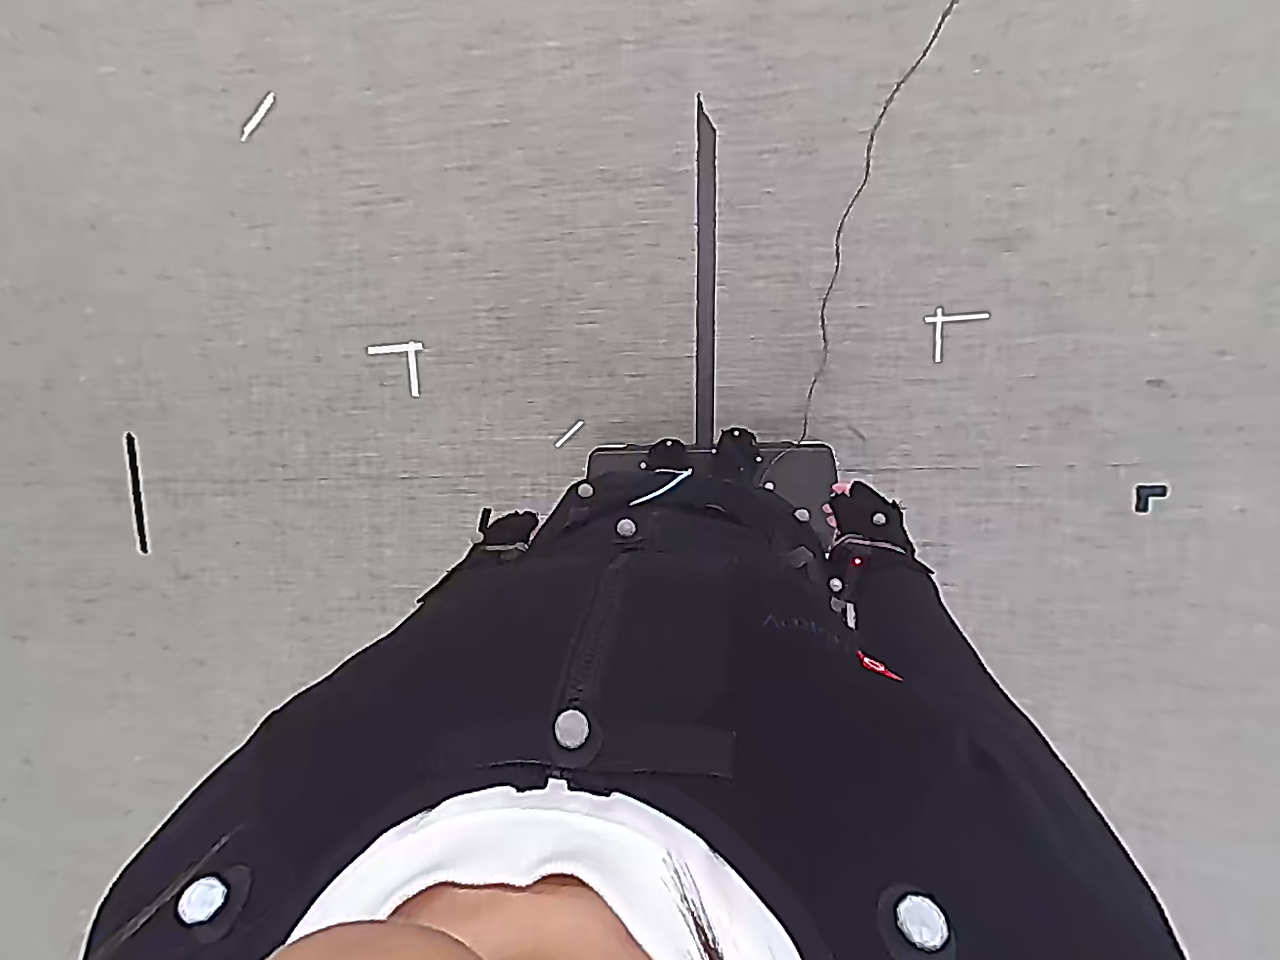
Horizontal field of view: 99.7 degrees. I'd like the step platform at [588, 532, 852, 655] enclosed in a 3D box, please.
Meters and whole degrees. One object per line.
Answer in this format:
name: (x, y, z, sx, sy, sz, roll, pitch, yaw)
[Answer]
step platform: (0.202, 0.300, 1.450, 0.684, 0.204, 0.286, -2, 94, 9)
